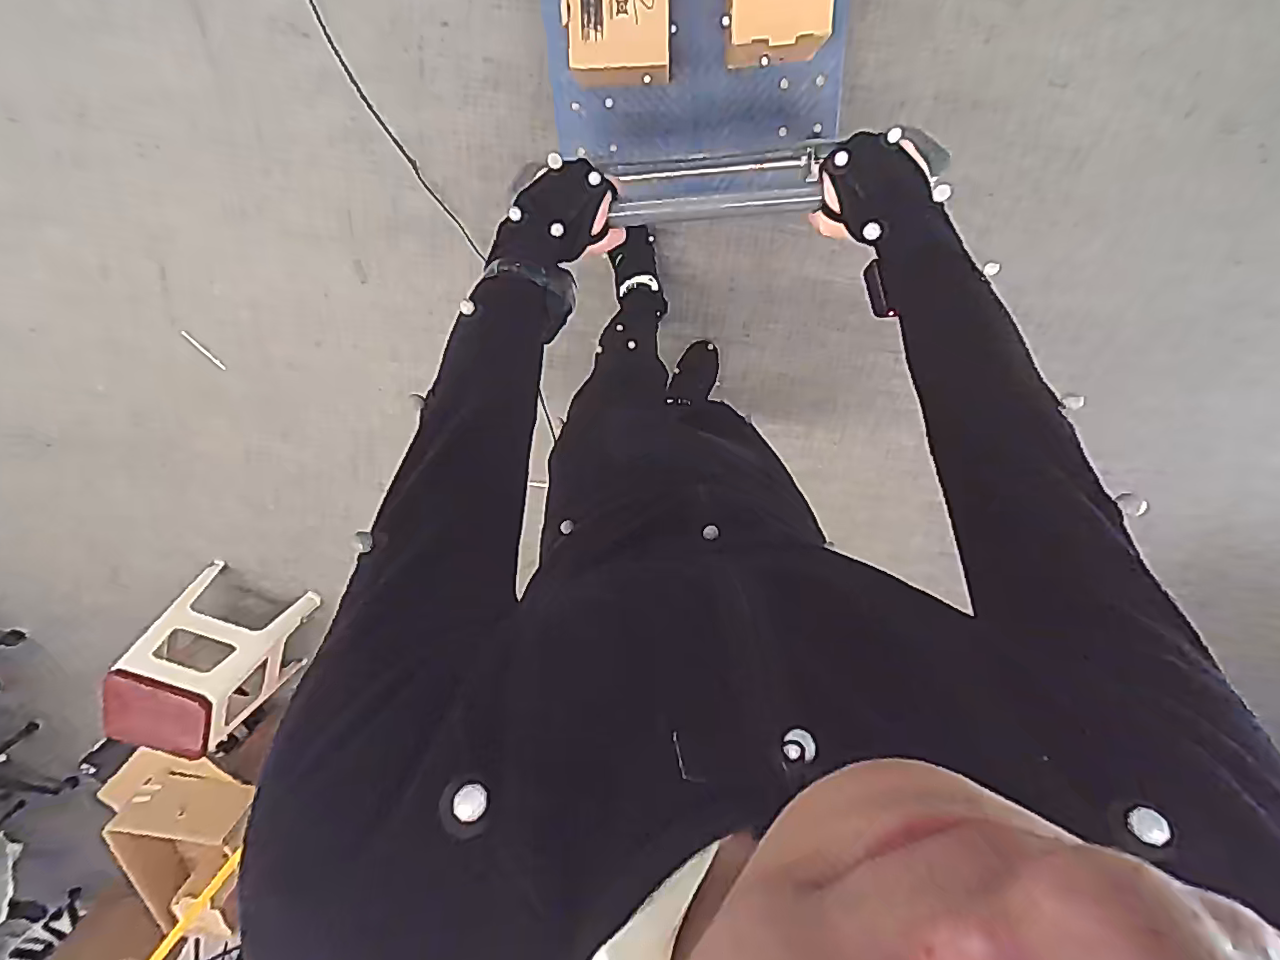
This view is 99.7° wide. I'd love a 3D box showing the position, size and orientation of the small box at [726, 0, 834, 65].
[{"bbox_3d":[0.239,-0.859,0.945,0.168,0.176,0.179,-2,117,5],"label":"small box"}]
